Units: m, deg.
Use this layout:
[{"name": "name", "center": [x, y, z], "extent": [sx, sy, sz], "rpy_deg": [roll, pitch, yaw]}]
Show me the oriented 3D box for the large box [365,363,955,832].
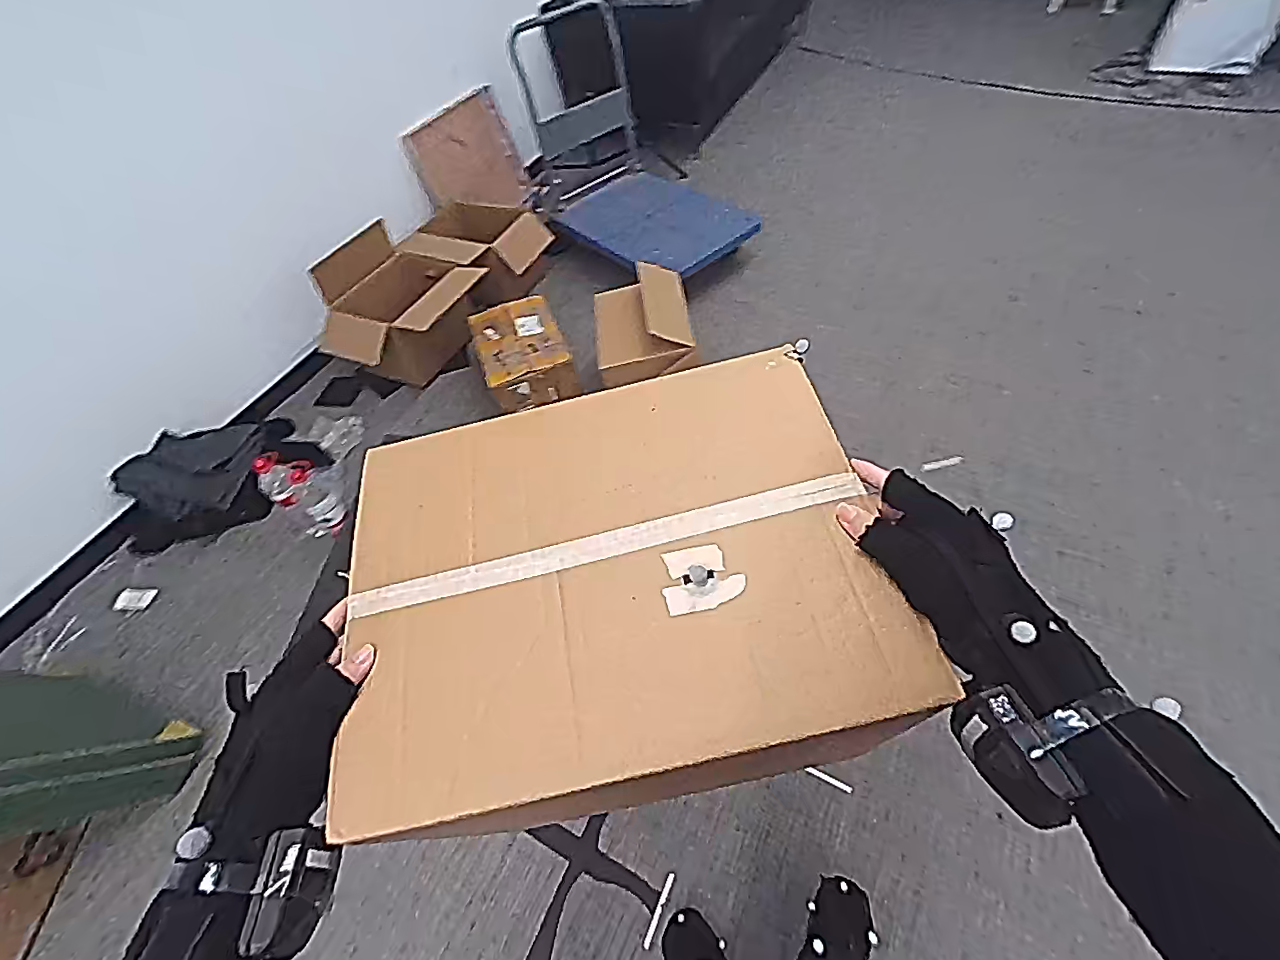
[{"name": "large box", "center": [0.005, 0.138, 0.554], "extent": [0.408, 0.320, 0.320], "rpy_deg": [-13, 57, 1]}]
